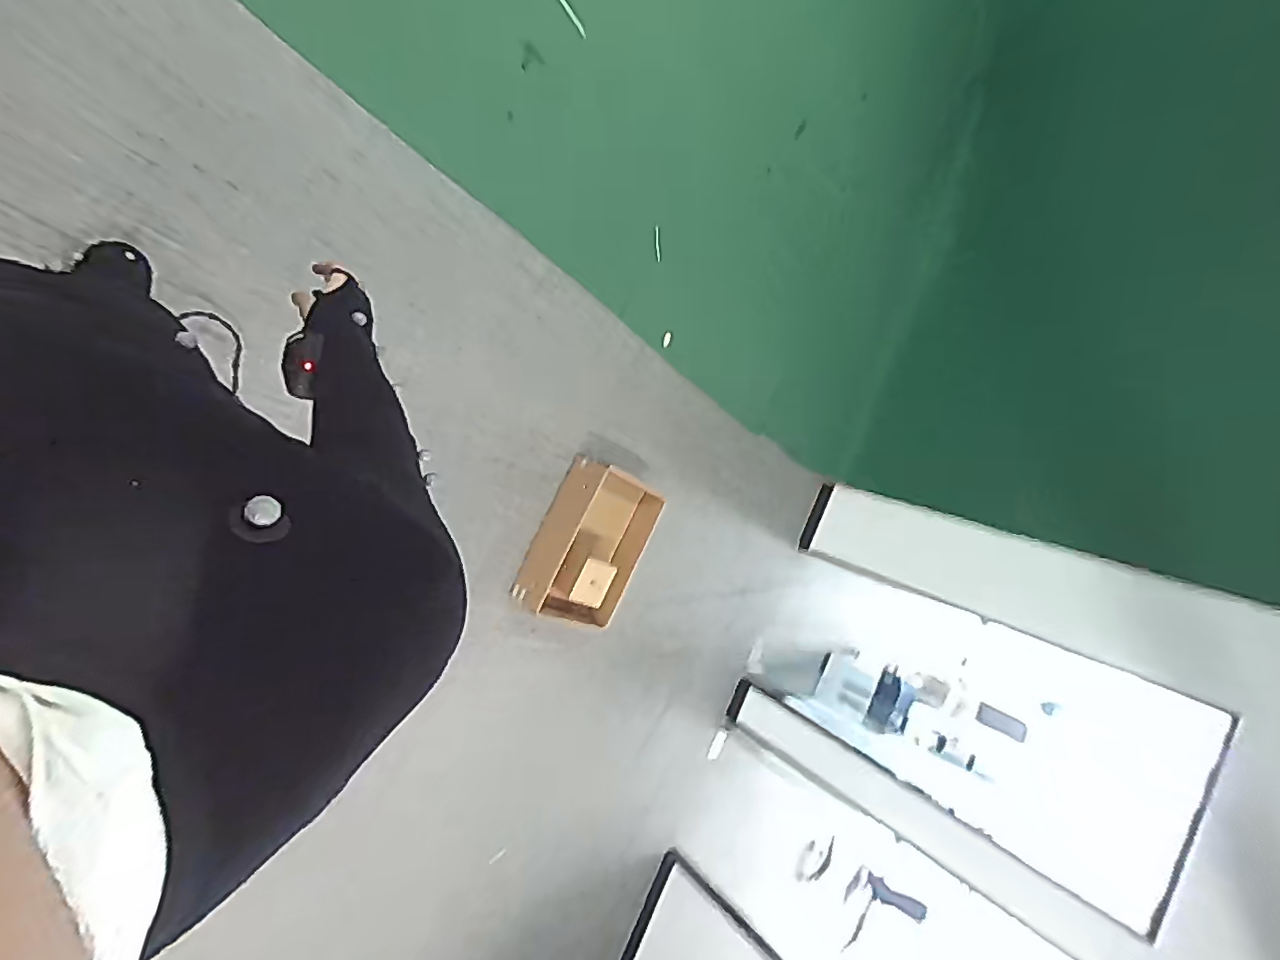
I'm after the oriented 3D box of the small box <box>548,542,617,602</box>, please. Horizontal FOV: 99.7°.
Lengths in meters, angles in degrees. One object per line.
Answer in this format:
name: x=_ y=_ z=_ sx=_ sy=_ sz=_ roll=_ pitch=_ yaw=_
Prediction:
small box: x=-0.229 y=0.355 z=2.111 sx=0.179 sy=0.176 sz=0.168 roll=32 pitch=82 yaw=-46
